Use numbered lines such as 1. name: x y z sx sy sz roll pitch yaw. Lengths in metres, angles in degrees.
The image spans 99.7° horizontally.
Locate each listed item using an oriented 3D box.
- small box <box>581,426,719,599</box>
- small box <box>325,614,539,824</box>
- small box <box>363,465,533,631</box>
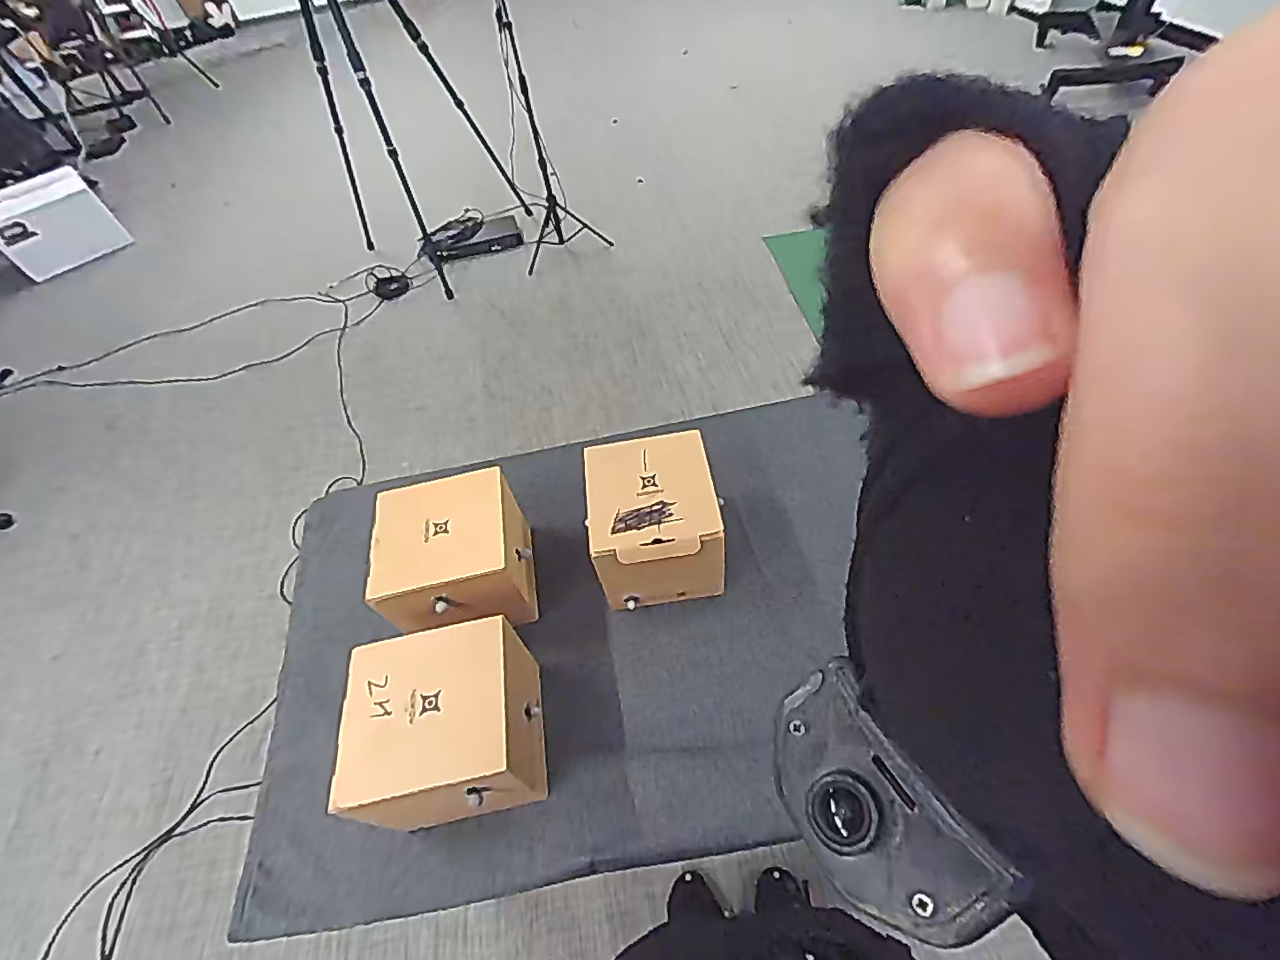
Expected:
1. small box: 0.016 0.054 0.760 0.168 0.176 0.179 -9 52 1
2. small box: -0.220 0.279 0.624 0.179 0.176 0.168 -12 51 -2
3. small box: -0.256 0.107 0.763 0.179 0.176 0.168 -14 53 -1
